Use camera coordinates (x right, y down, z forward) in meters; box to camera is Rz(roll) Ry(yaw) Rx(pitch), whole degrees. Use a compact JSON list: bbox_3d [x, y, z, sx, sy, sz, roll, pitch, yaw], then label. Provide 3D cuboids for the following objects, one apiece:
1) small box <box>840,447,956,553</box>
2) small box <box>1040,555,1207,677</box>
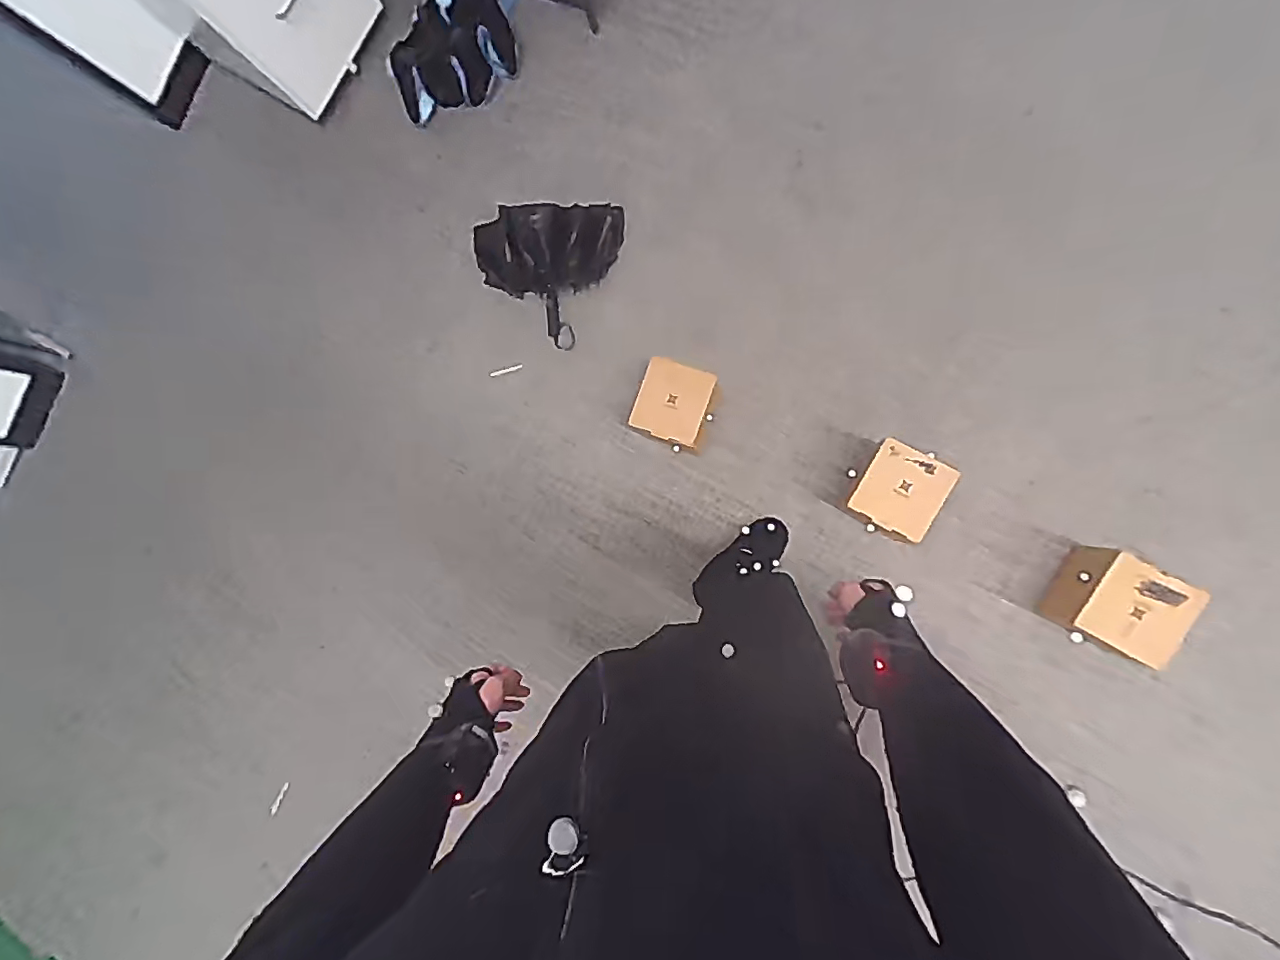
[{"bbox_3d":[0.574,0.049,1.232,0.168,0.176,0.179,29,92,14],"label":"small box"},{"bbox_3d":[0.982,0.268,1.120,0.168,0.176,0.179,30,93,14],"label":"small box"}]
